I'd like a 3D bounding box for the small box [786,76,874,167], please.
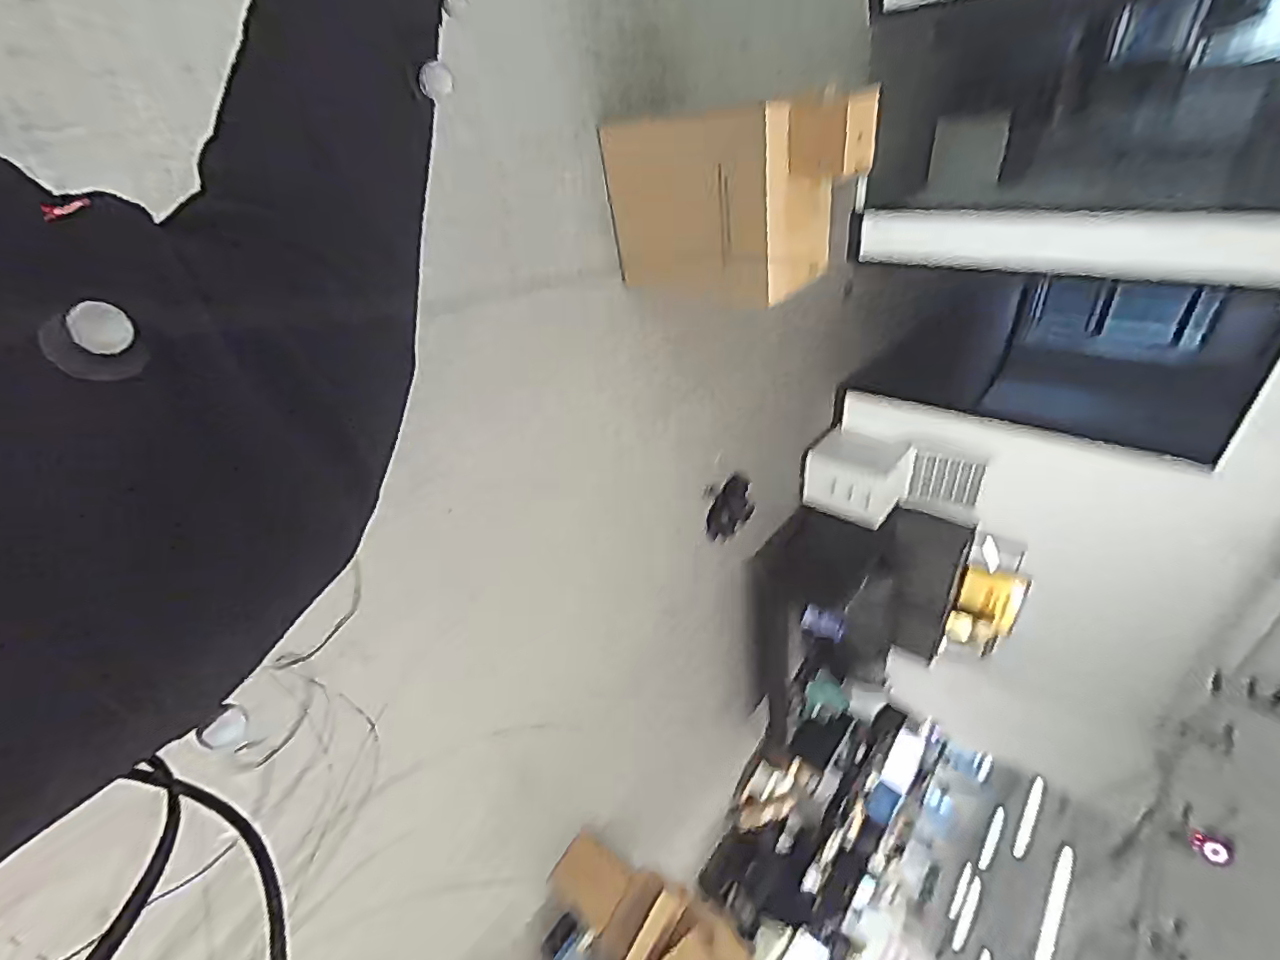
[{"bbox_3d":[0.511,-0.968,1.468,0.168,0.176,0.179,-39,134,-29],"label":"small box"}]
